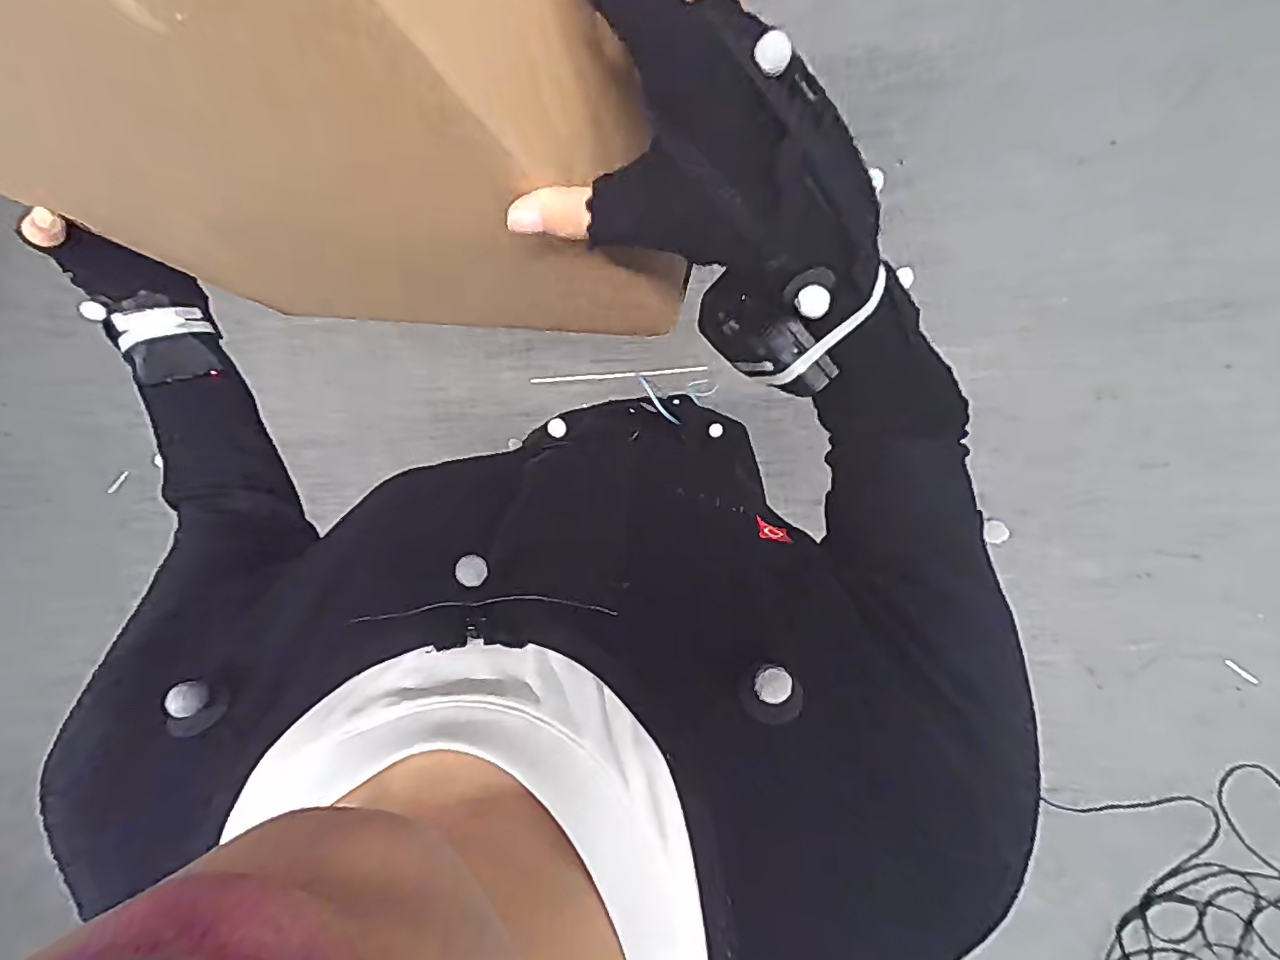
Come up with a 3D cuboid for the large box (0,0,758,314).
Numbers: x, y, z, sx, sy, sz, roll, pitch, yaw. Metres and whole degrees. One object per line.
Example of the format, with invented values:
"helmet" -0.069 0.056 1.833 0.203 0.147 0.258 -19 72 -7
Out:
"large box" -0.172 -0.305 0.300 0.408 0.320 0.320 11 85 25
